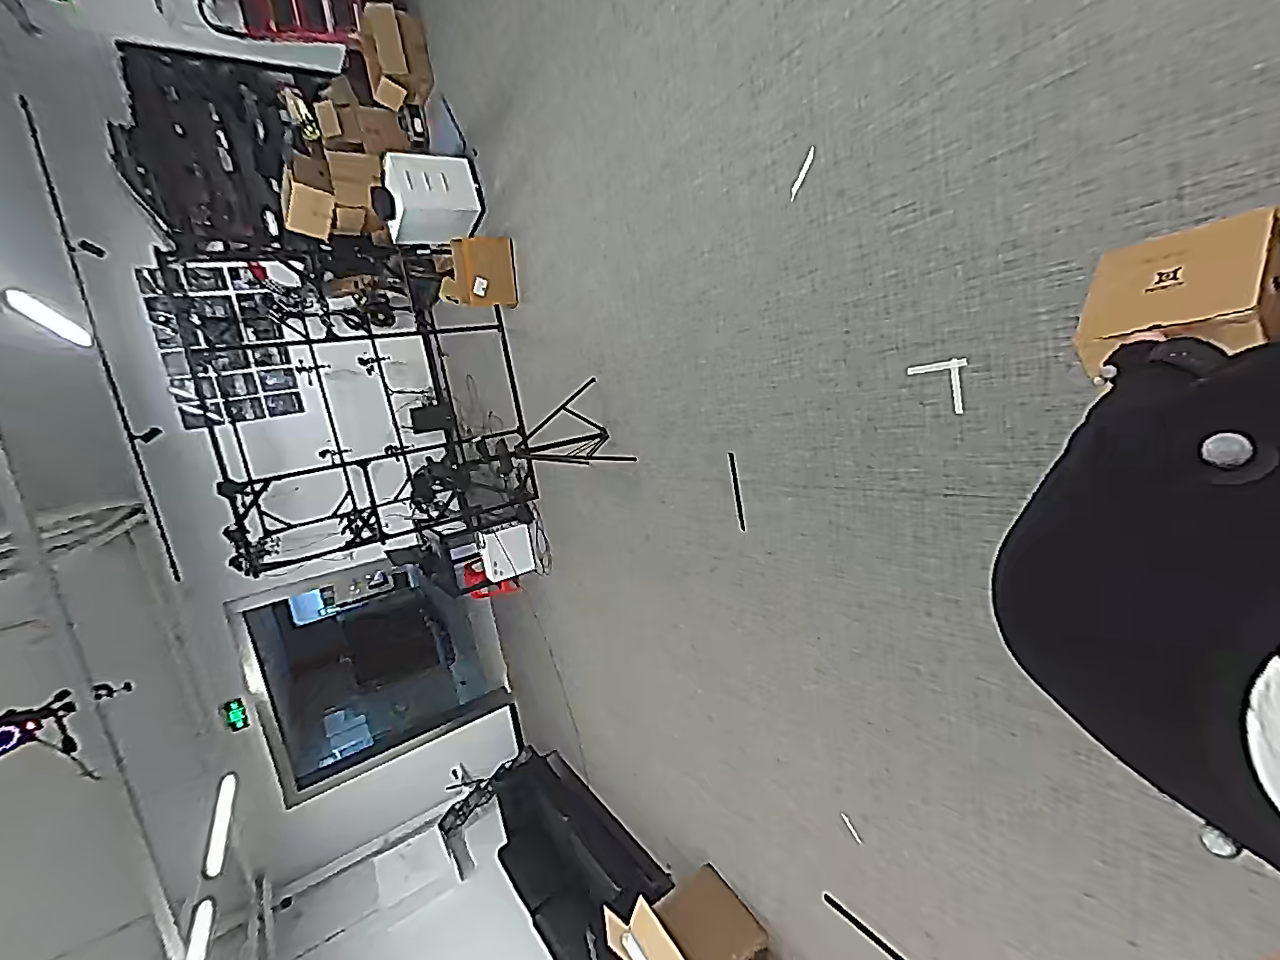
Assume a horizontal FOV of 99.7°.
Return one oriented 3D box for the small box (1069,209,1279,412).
[{"bbox_3d":[0.711,-0.204,0.713,0.176,0.179,0.168,40,160,-26],"label":"small box"}]
